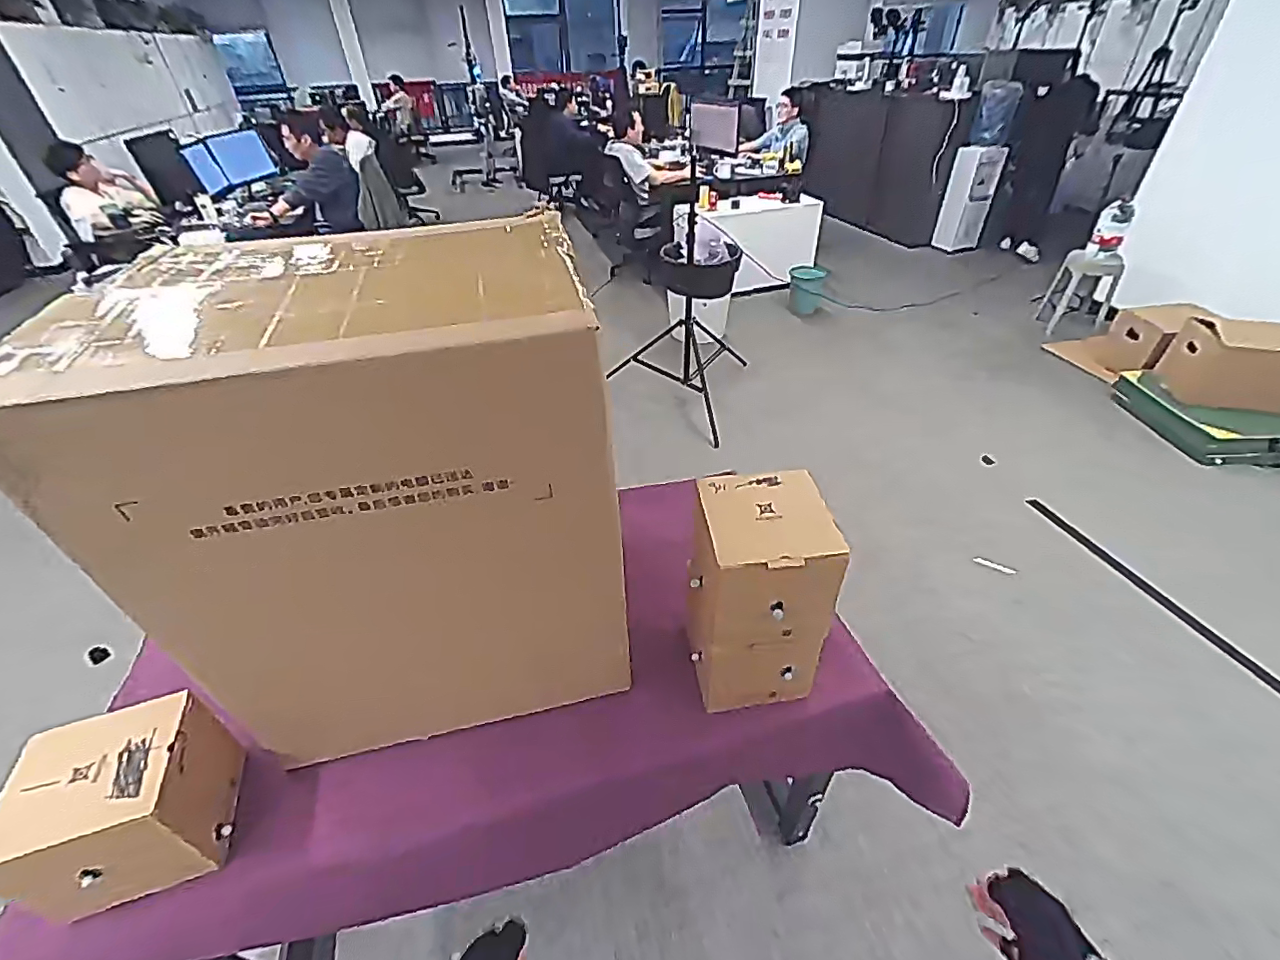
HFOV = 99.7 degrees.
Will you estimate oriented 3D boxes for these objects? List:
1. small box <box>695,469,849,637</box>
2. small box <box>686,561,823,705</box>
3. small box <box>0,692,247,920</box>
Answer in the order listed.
[{"bbox_3d":[0.172,0.107,0.768,0.168,0.176,0.179,-4,39,-3],"label":"small box"},{"bbox_3d":[0.171,0.239,0.866,0.168,0.176,0.179,-6,37,-6],"label":"small box"},{"bbox_3d":[-0.642,0.411,0.689,0.179,0.176,0.168,-14,38,-16],"label":"small box"}]
